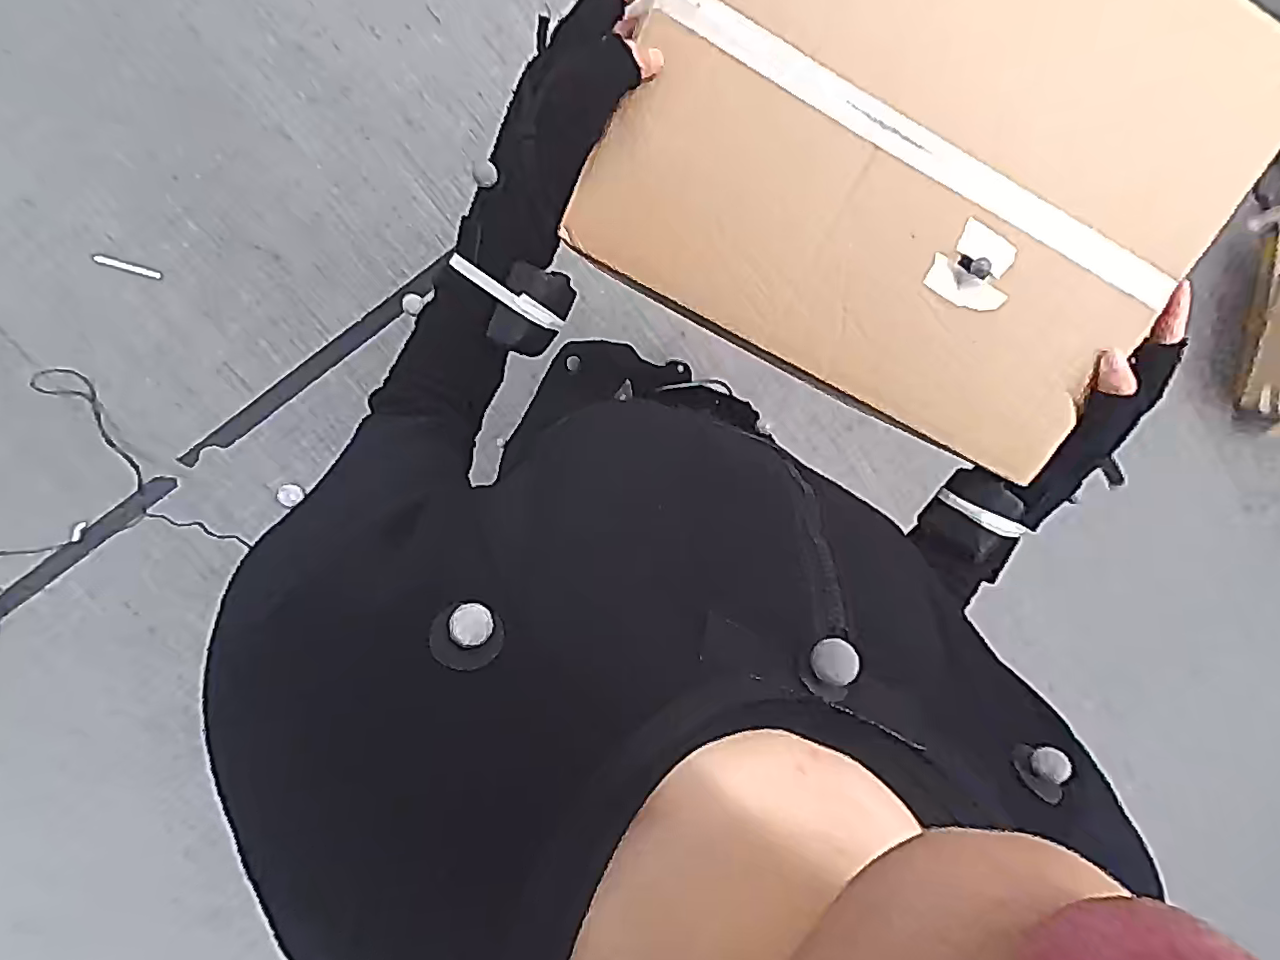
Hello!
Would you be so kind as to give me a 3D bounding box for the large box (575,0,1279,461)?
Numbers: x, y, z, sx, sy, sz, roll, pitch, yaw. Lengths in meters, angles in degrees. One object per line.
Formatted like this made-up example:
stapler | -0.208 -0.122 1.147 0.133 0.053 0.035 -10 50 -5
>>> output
large box | 0.192 -0.270 0.512 0.408 0.320 0.320 26 107 -8
